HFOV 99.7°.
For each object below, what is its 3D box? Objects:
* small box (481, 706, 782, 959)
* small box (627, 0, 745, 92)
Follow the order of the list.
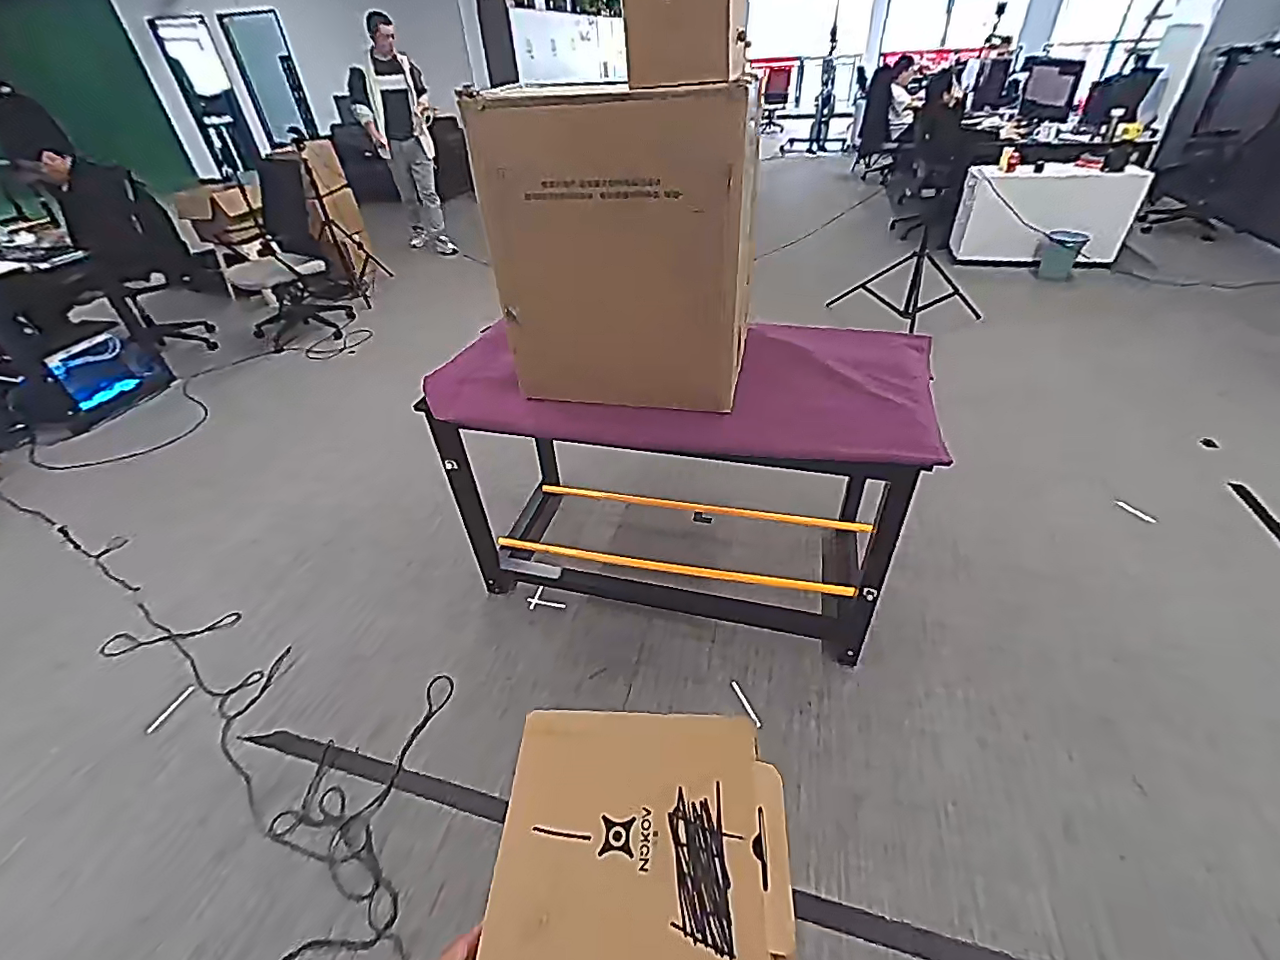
[{"bbox_3d":[0.005,0.289,0.409,0.179,0.176,0.168,-1,45,7],"label":"small box"},{"bbox_3d":[0.080,-0.766,0.911,0.179,0.176,0.168,6,40,14],"label":"small box"}]
